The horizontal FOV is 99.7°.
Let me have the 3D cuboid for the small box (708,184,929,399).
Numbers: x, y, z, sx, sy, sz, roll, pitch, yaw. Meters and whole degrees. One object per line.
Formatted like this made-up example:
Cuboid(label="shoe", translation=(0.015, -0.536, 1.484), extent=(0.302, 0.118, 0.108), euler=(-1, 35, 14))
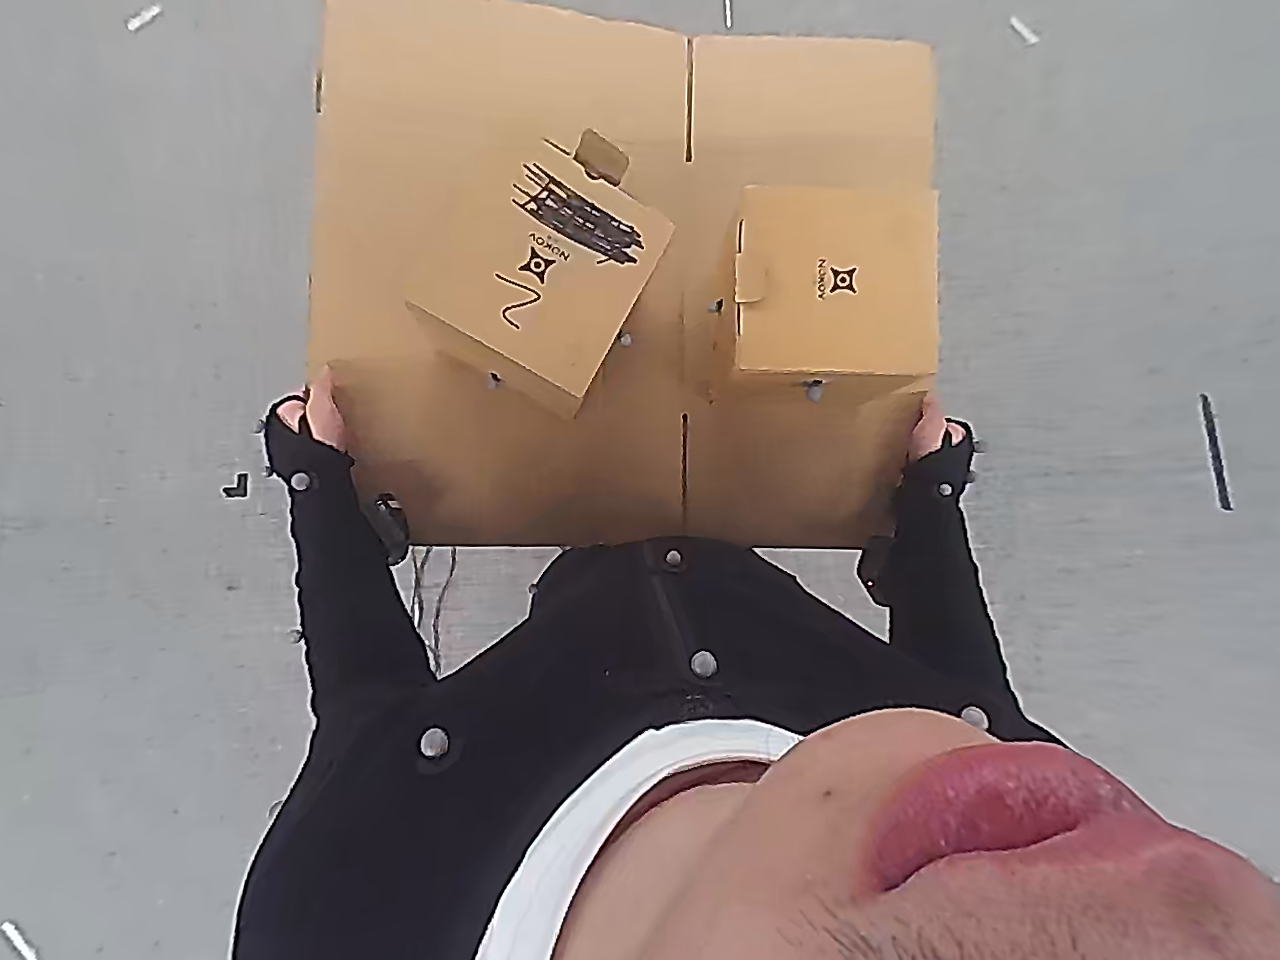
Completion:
Cuboid(label="small box", translation=(0.172, -0.181, 0.567), extent=(0.179, 0.176, 0.168), euler=(1, 88, 0))
